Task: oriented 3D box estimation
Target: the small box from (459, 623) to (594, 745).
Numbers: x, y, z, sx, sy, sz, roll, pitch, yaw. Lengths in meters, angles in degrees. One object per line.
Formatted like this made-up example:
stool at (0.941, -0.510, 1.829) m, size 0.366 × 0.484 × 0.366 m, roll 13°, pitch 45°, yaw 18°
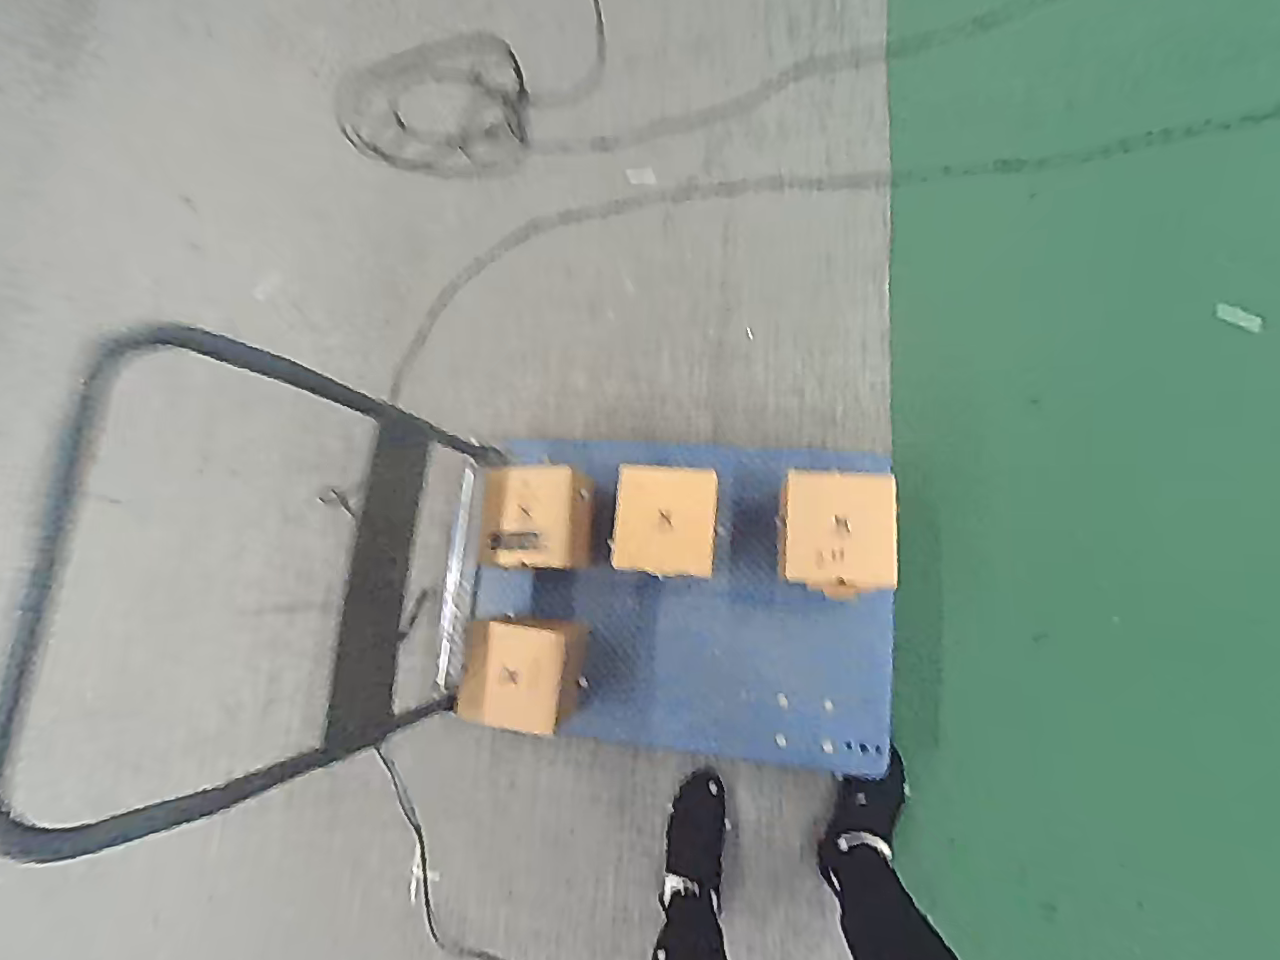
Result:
small box at (-0.196, 0.356, 0.981) m, size 0.179 × 0.176 × 0.168 m, roll 6°, pitch 81°, yaw 10°

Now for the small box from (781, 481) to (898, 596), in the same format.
small box at (0.337, 0.105, 0.938) m, size 0.168 × 0.176 × 0.179 m, roll 2°, pitch 80°, yaw 11°

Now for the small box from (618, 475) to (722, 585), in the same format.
small box at (0.061, 0.096, 0.989) m, size 0.168 × 0.176 × 0.179 m, roll 4°, pitch 82°, yaw 10°
